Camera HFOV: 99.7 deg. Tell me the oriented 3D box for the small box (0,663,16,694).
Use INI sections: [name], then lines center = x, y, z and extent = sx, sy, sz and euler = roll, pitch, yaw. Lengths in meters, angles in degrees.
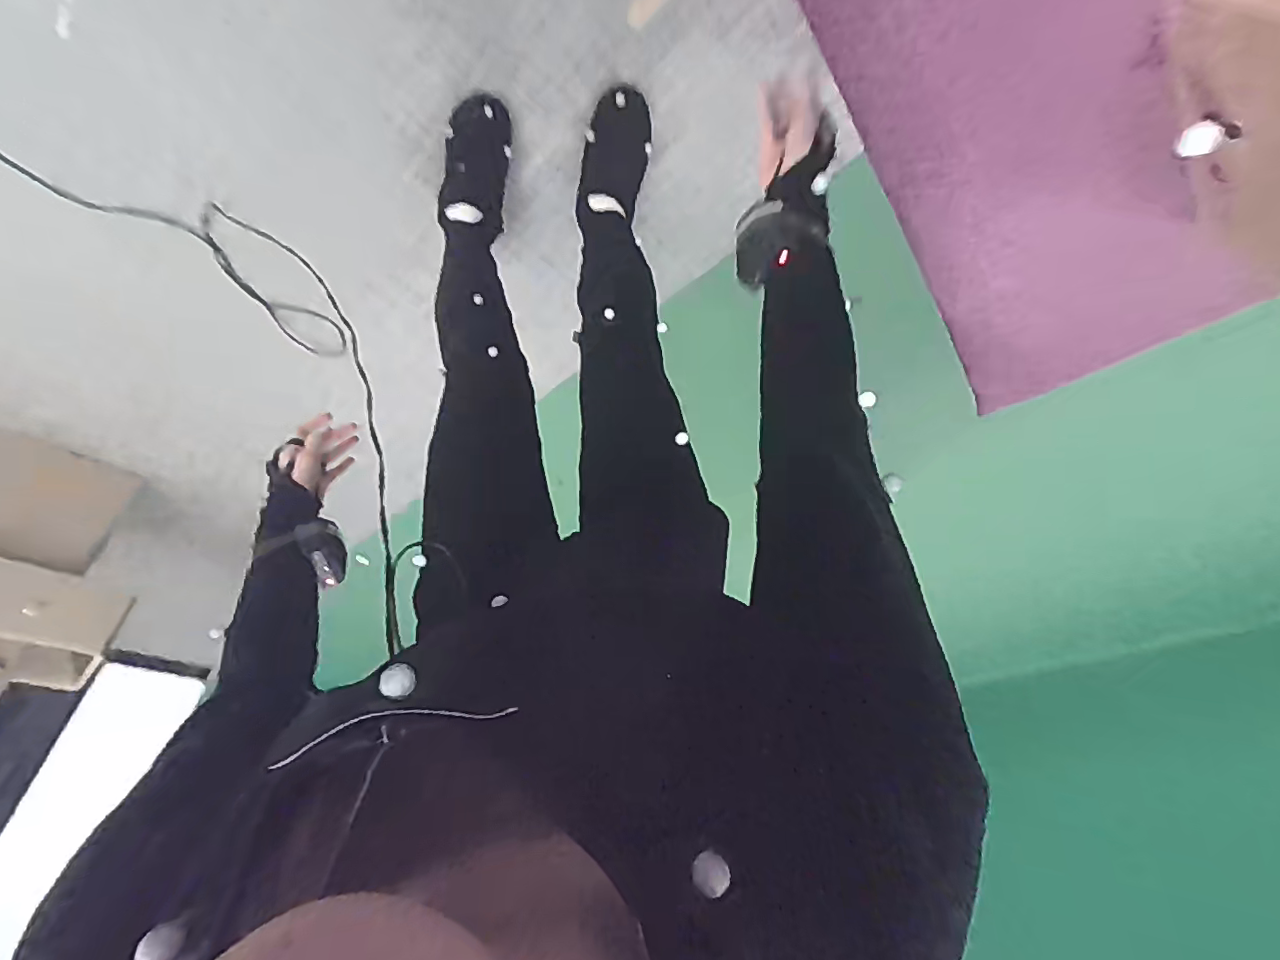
[small box]
center = -1.710, 0.515, 1.308
extent = 0.179, 0.176, 0.168
euler = 10, 141, -15
